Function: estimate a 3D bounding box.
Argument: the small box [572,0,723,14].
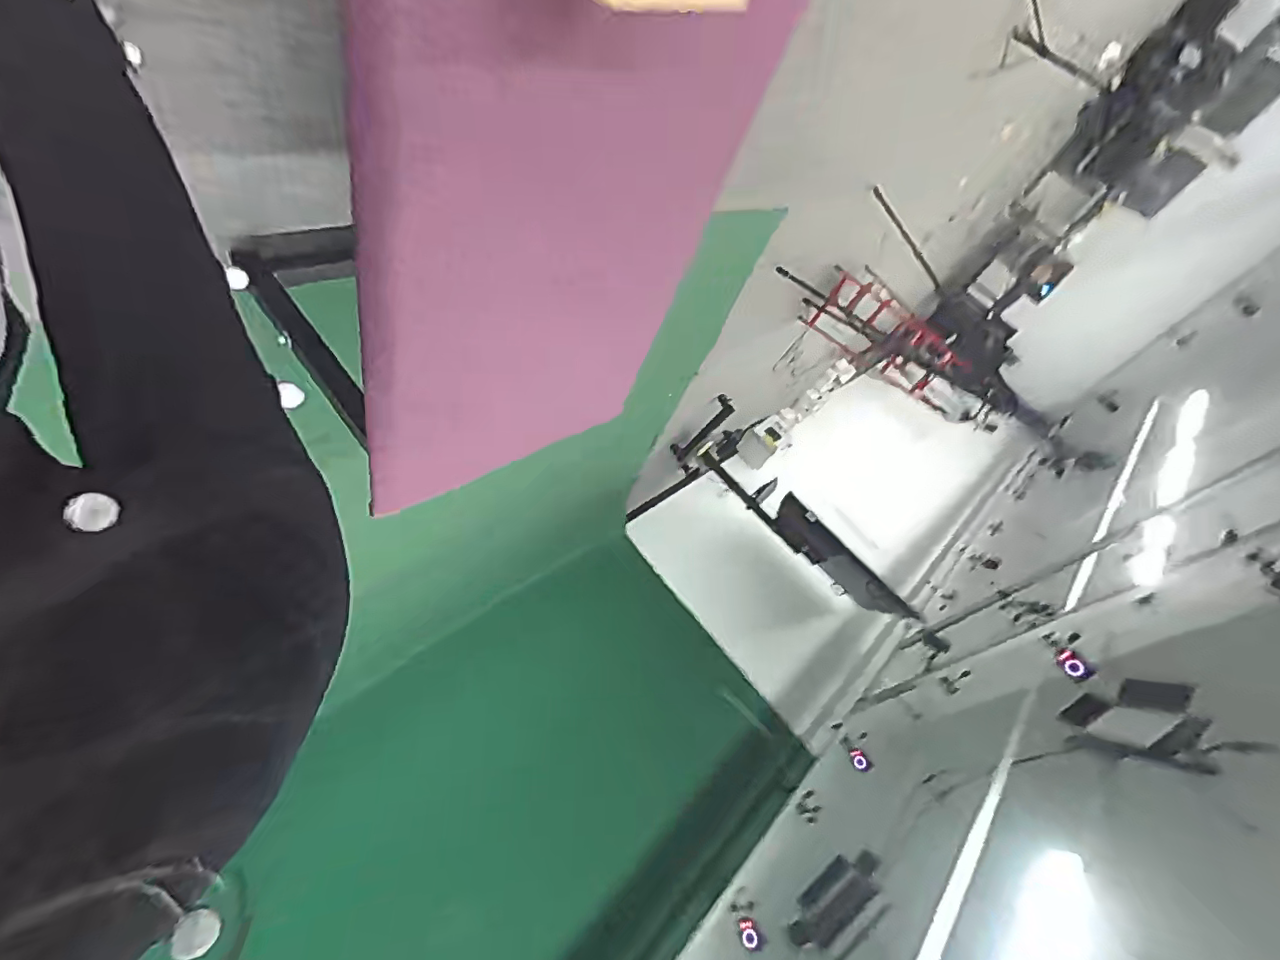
[{"bbox_3d":[-0.017,-0.492,0.407,0.179,0.176,0.168,-34,163,-34],"label":"small box"}]
